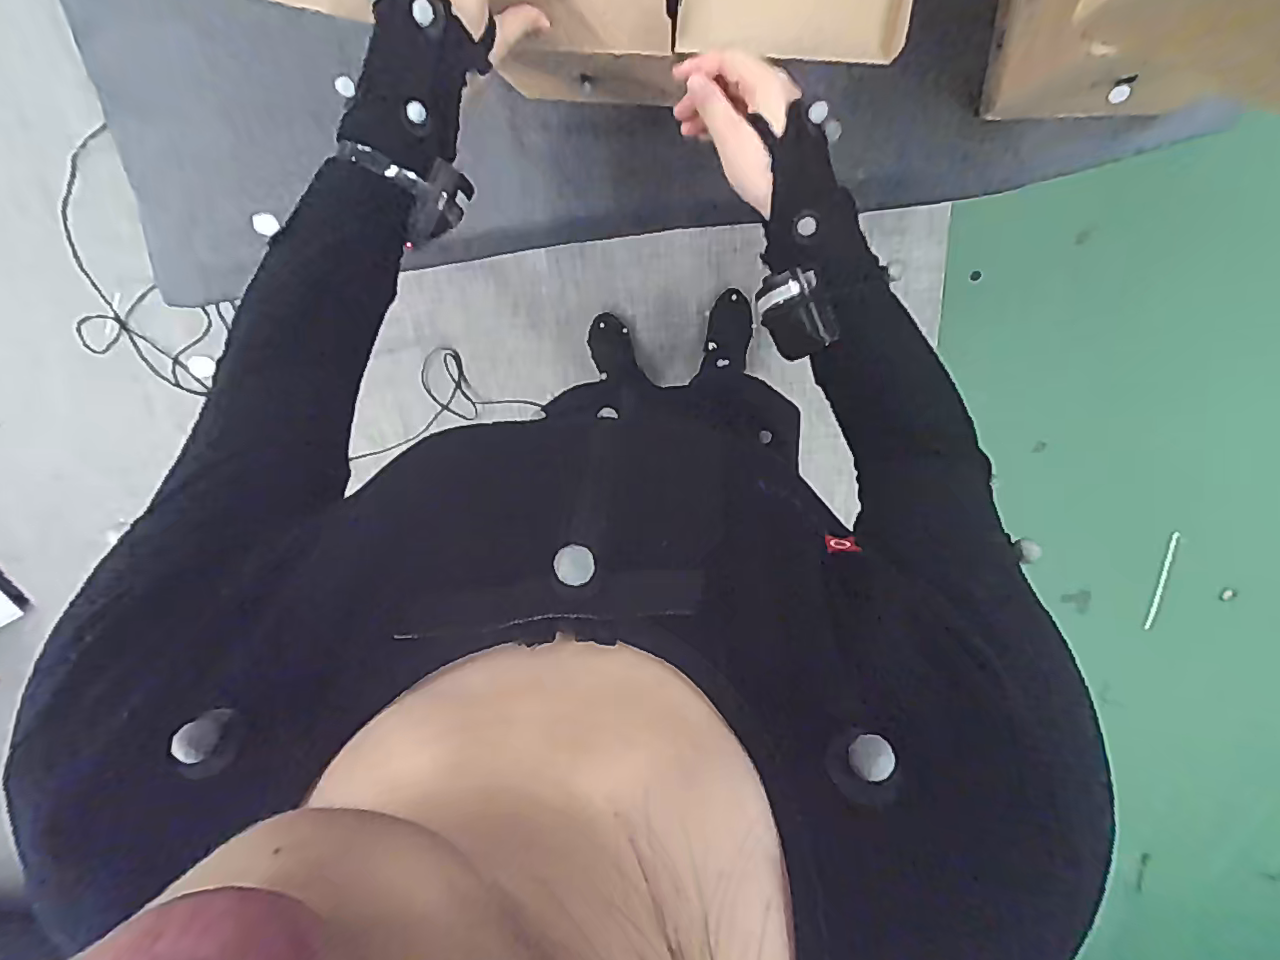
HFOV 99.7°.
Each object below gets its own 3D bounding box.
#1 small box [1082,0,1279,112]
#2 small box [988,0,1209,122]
[{"bbox_3d":[0.408,-0.335,0.292,0.179,0.176,0.168,22,111,-2],"label":"small box"},{"bbox_3d":[0.422,-0.408,0.438,0.179,0.176,0.168,3,110,7],"label":"small box"}]
